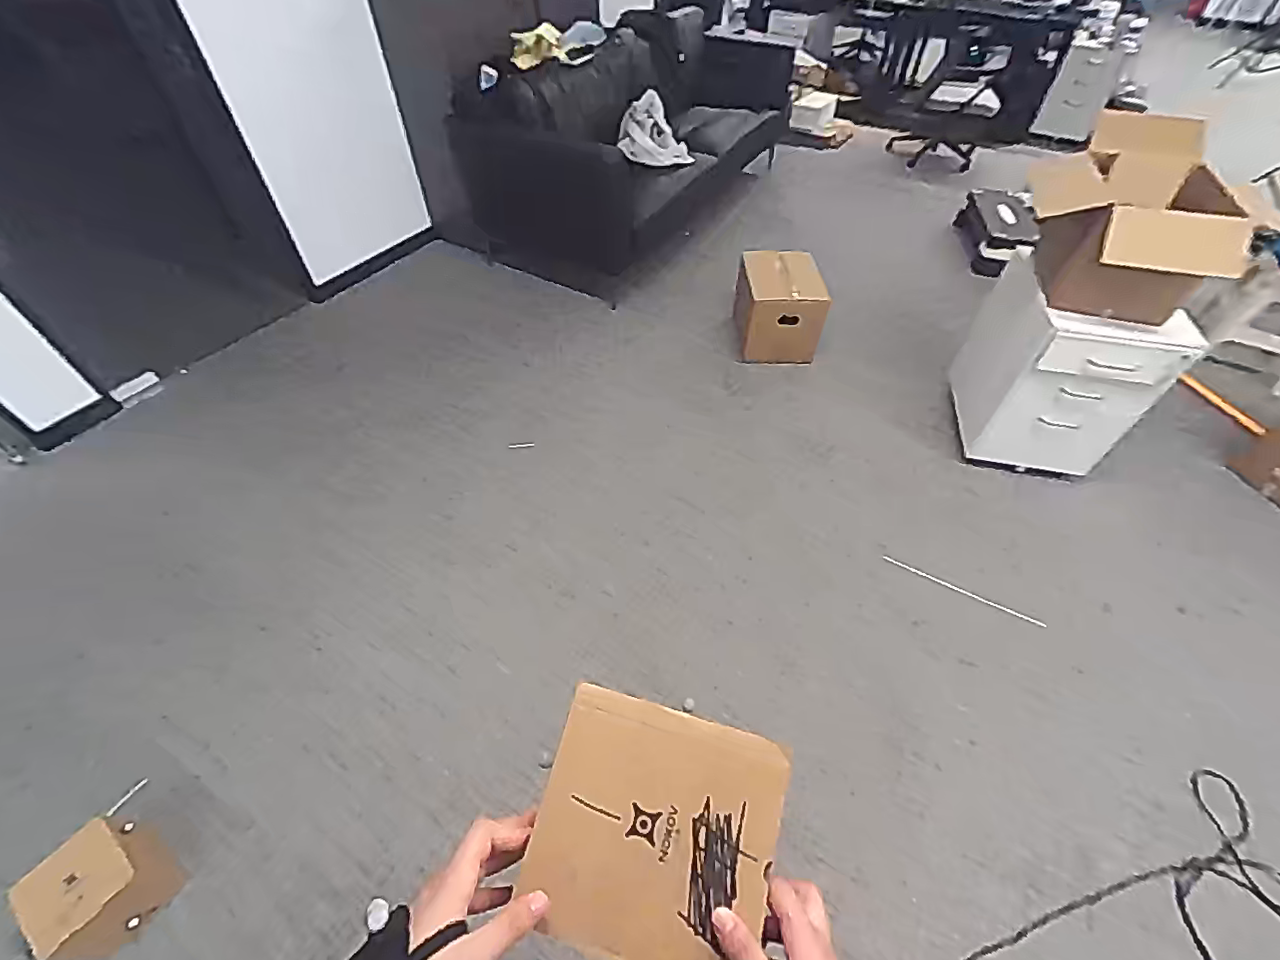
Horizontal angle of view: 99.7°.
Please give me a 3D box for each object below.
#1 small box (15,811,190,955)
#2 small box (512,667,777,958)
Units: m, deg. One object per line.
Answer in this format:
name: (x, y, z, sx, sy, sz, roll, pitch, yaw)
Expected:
small box: (-1.097, 0.832, 1.117, 0.179, 0.176, 0.168, 30, 56, 23)
small box: (0.004, 0.278, 0.494, 0.179, 0.176, 0.168, 16, 67, 1)
